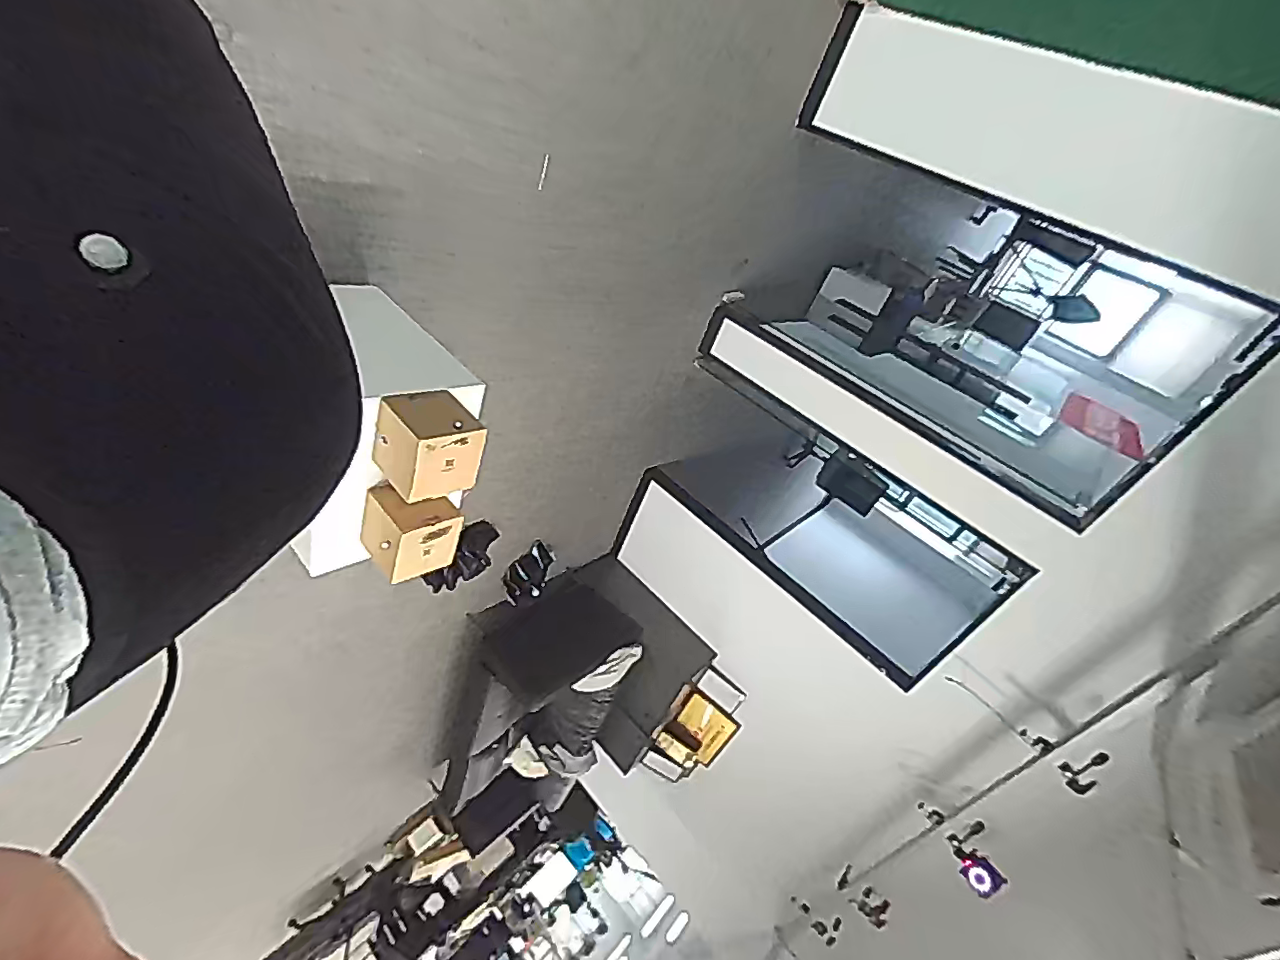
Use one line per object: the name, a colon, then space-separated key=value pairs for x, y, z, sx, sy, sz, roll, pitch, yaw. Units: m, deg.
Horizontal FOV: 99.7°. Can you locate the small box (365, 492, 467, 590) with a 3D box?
small box: x=-0.564 y=0.136 z=1.353 sx=0.168 sy=0.176 sz=0.179 roll=-17 pitch=141 yaw=-49

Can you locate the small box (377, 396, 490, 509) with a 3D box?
small box: x=-0.471 y=-0.068 z=1.220 sx=0.168 sy=0.176 sz=0.179 roll=-20 pitch=143 yaw=-48
